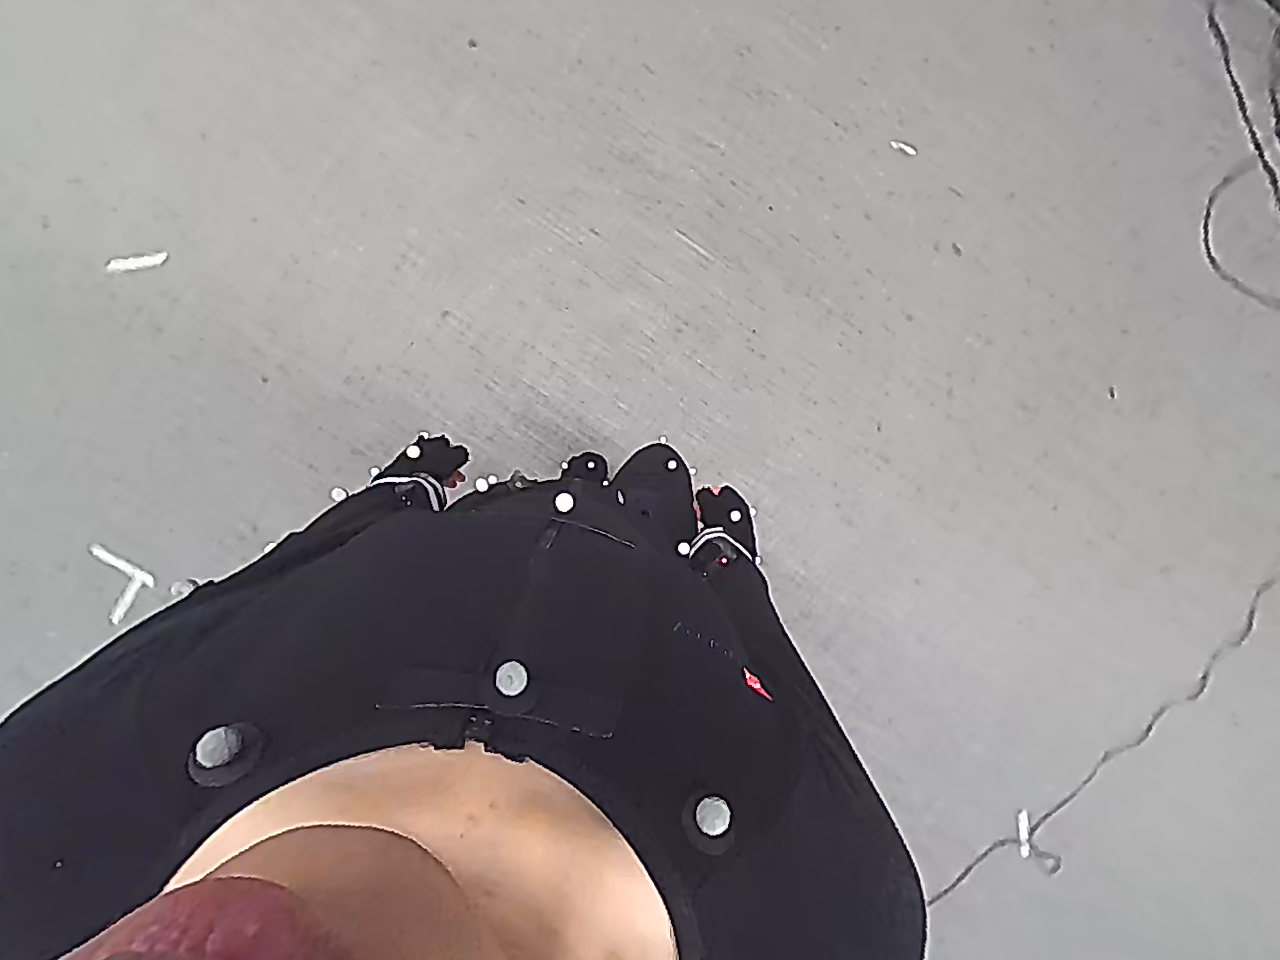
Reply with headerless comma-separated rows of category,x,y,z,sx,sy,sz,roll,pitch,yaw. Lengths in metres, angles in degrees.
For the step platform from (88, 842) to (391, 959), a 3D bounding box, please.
step platform,-1.024,1.272,1.405,0.684,0.204,0.286,33,91,-3
